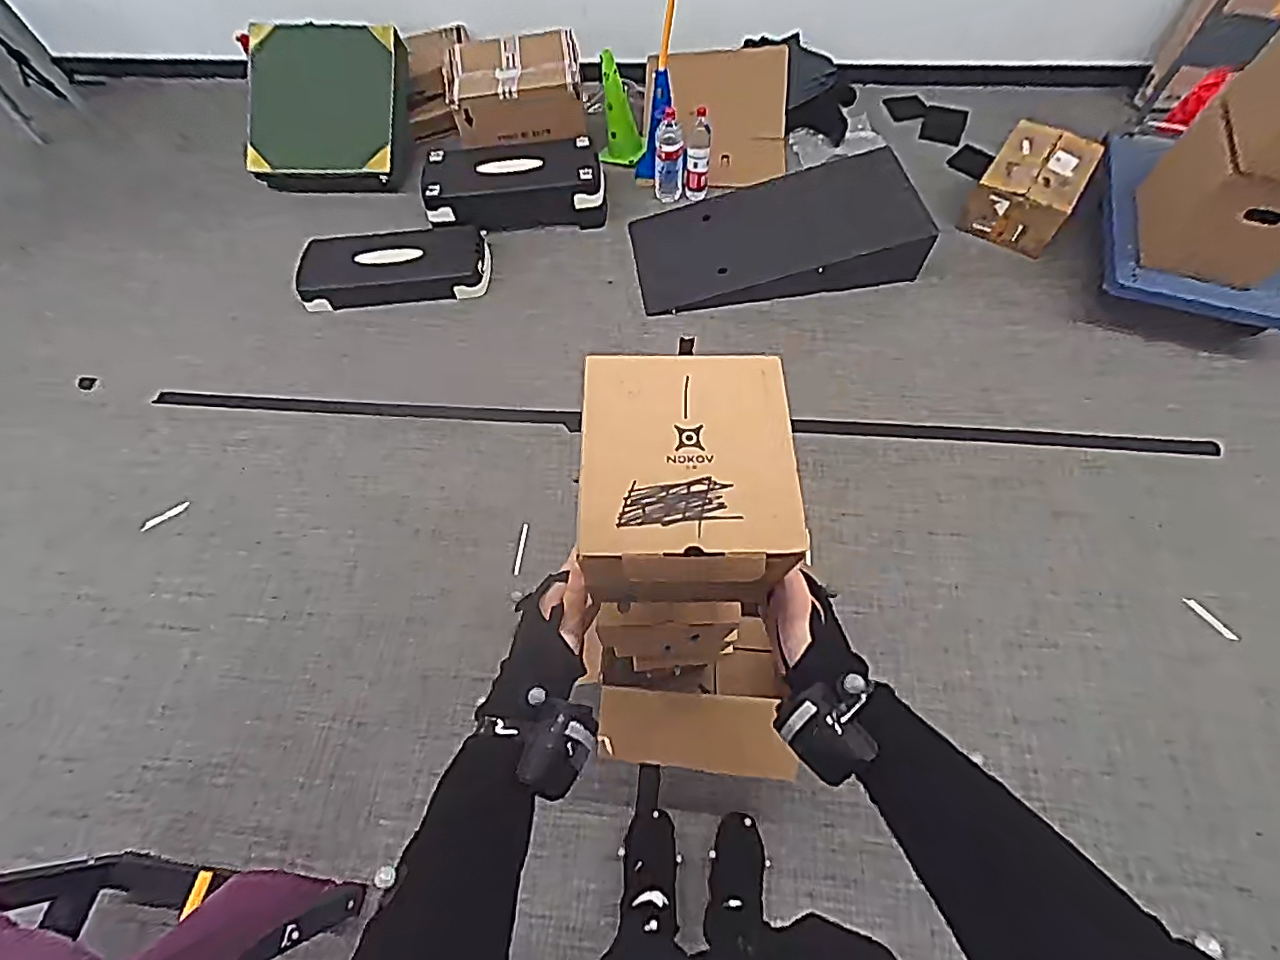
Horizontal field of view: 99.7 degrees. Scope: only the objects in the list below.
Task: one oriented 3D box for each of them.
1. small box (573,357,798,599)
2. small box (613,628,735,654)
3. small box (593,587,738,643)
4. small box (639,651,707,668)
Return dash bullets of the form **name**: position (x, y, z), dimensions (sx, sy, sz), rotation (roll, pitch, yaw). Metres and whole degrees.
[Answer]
- **small box**: position (0.033, 0.009, 0.492), dimensions (0.168, 0.176, 0.179), rotation (0, 66, -1)
- **small box**: position (0.044, 0.182, 0.855), dimensions (0.179, 0.176, 0.168), rotation (-1, 67, -2)
- **small box**: position (0.028, 0.116, 0.706), dimensions (0.168, 0.176, 0.179), rotation (0, 66, -2)
- **small box**: position (0.069, 0.296, 1.164), dimensions (0.179, 0.176, 0.168), rotation (-14, 67, -8)
